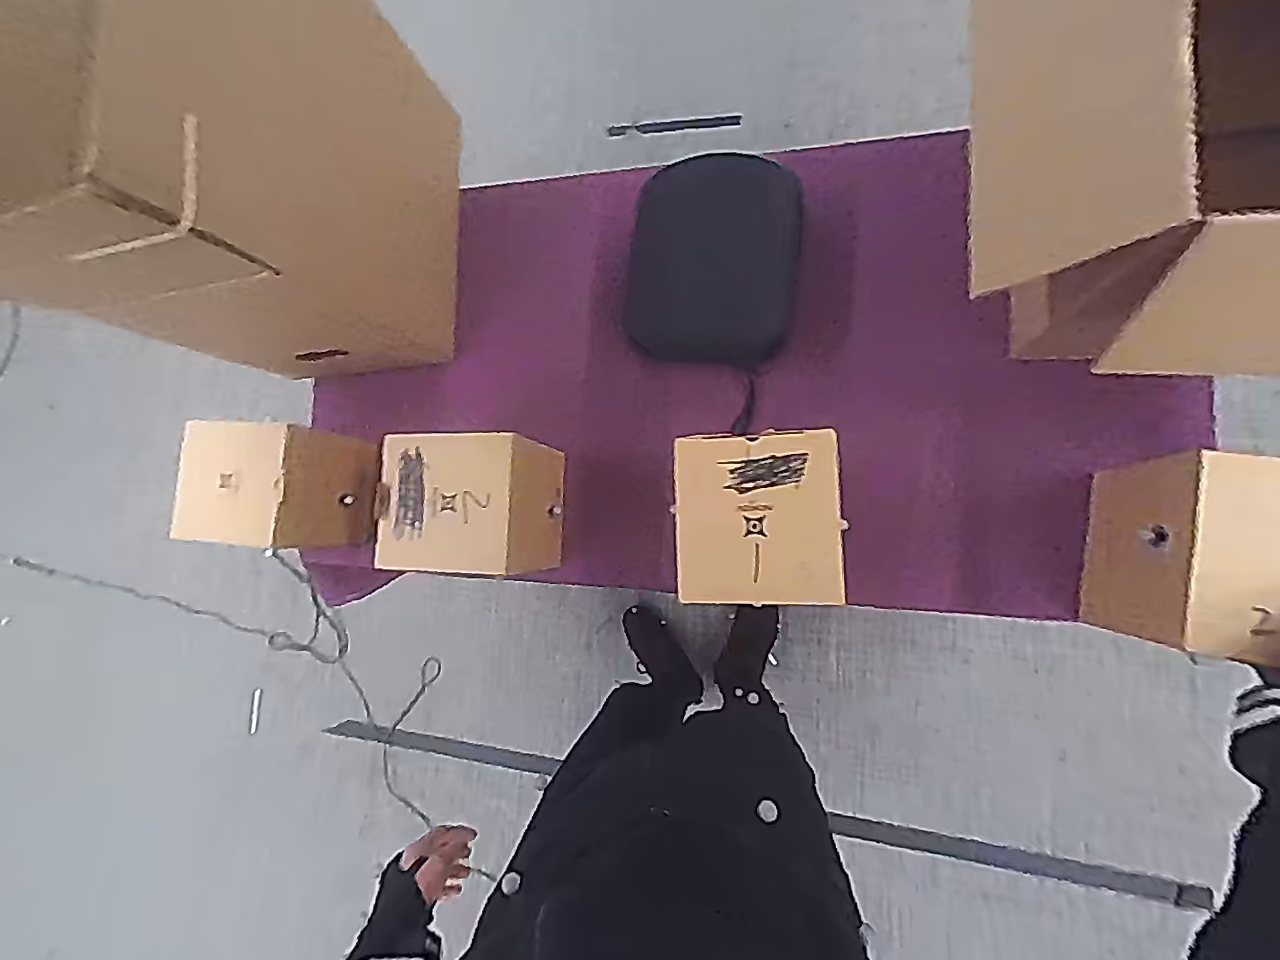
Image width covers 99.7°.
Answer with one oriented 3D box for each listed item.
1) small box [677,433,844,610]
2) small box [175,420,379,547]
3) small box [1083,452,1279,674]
[{"bbox_3d":[0.137,0.049,0.626,0.168,0.176,0.179,-2,85,15],"label":"small box"},{"bbox_3d":[-0.525,0.010,0.800,0.179,0.176,0.168,3,85,13],"label":"small box"},{"bbox_3d":[0.562,0.082,0.511,0.168,0.176,0.179,9,86,16],"label":"small box"}]
